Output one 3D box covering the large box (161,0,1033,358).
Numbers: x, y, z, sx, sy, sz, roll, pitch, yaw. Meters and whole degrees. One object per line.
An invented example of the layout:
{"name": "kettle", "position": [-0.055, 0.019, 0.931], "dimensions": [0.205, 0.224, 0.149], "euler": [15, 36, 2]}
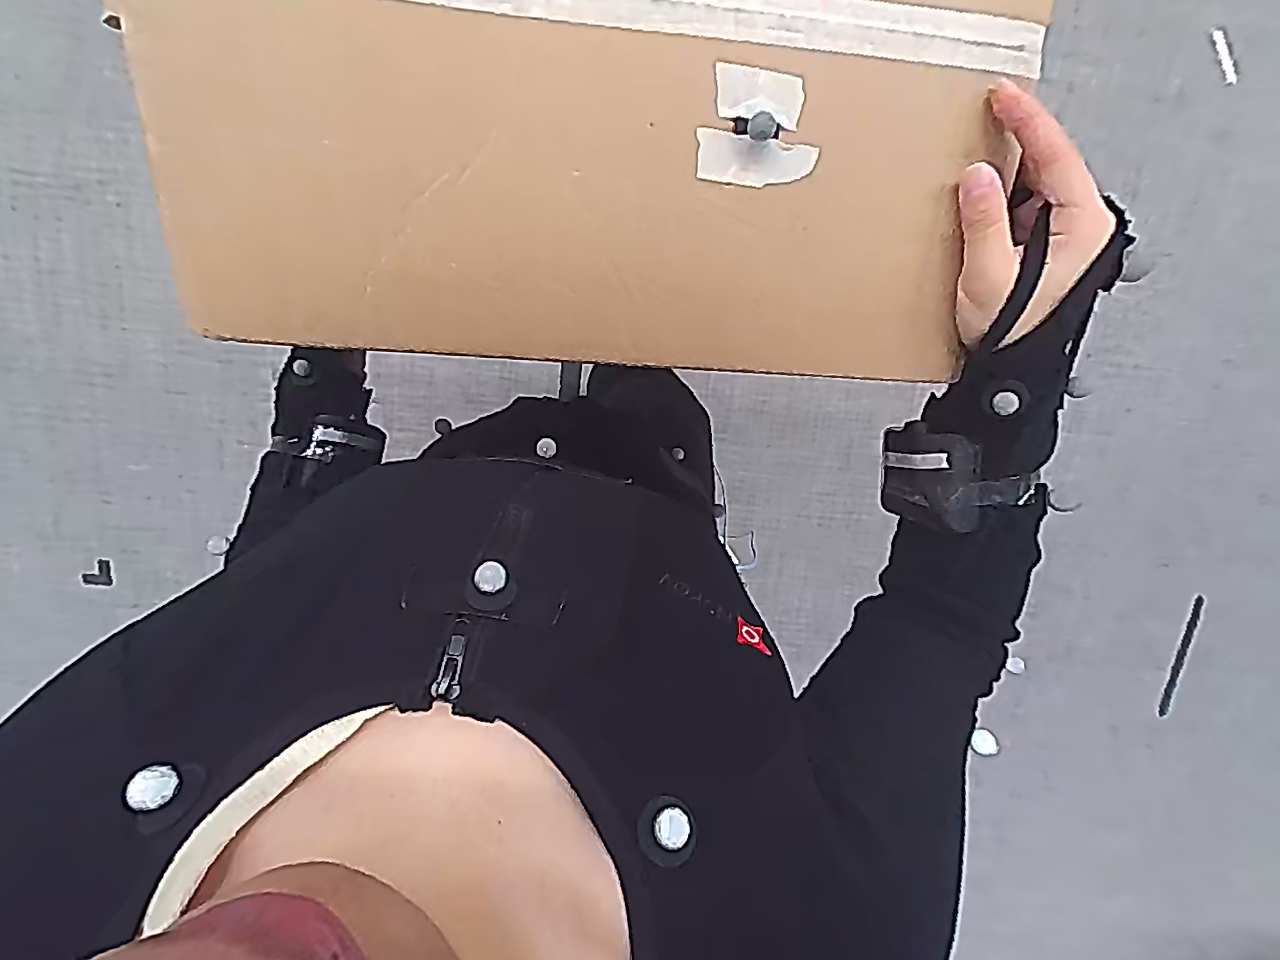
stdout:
{"name": "large box", "position": [-0.024, -0.265, 0.390], "dimensions": [0.408, 0.320, 0.320], "euler": [1, 109, -8]}
